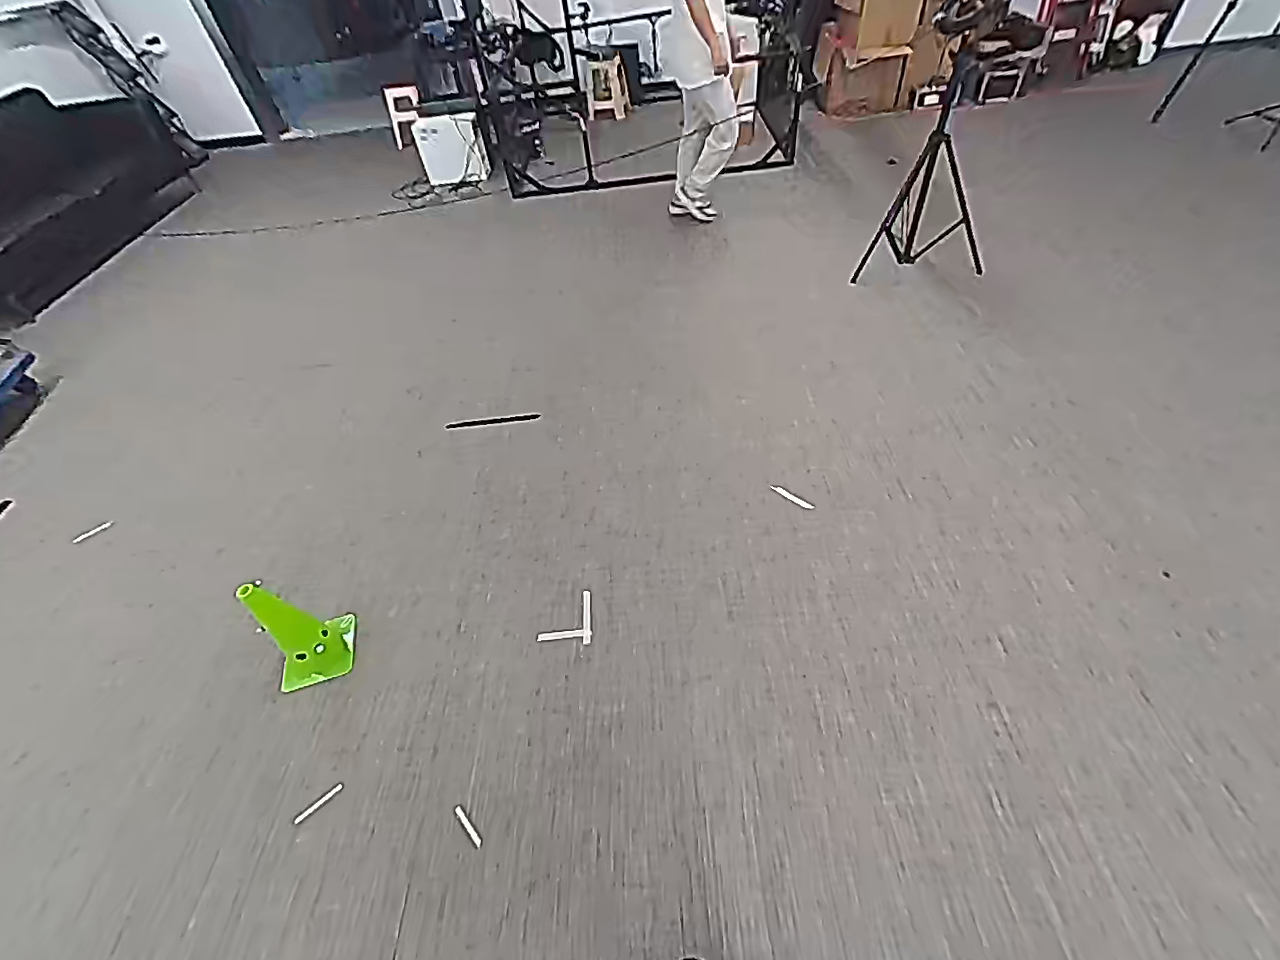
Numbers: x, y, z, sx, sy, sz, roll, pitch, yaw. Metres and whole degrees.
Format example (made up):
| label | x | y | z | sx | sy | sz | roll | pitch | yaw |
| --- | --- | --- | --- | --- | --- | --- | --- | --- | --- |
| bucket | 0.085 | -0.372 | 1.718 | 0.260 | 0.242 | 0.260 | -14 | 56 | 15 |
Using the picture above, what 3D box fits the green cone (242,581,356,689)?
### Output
| label | x | y | z | sx | sy | sz | roll | pitch | yaw |
| --- | --- | --- | --- | --- | --- | --- | --- | --- | --- |
| green cone | -0.969 | 0.394 | 1.485 | 0.202 | 0.368 | 0.200 | -16 | 48 | -8 |
